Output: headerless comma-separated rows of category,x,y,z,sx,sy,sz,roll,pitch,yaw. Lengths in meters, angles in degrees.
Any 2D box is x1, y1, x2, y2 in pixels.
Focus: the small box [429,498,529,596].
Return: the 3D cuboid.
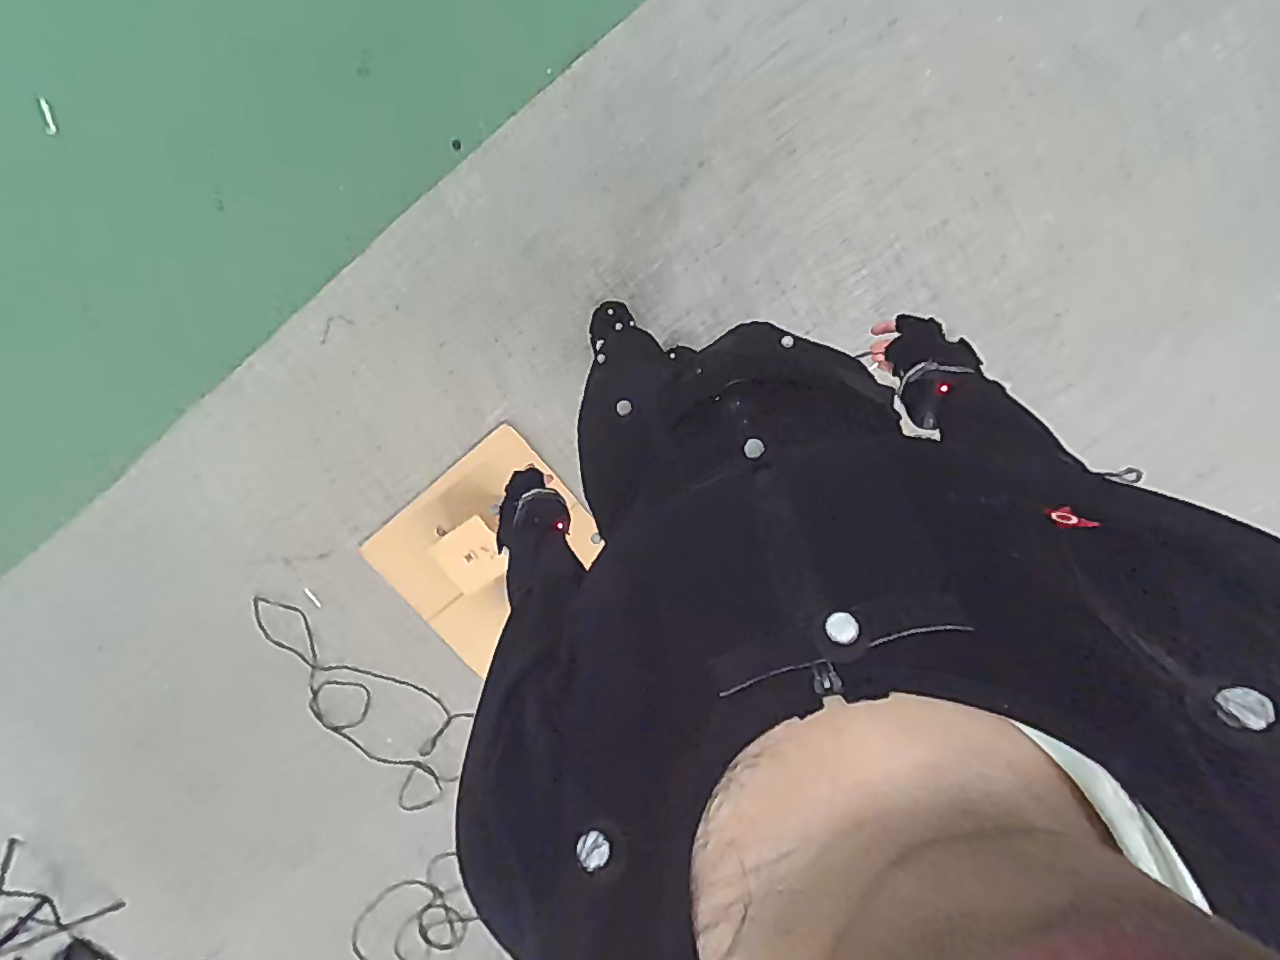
small box,-0.425,0.175,1.460,0.179,0.176,0.168,-34,102,10
